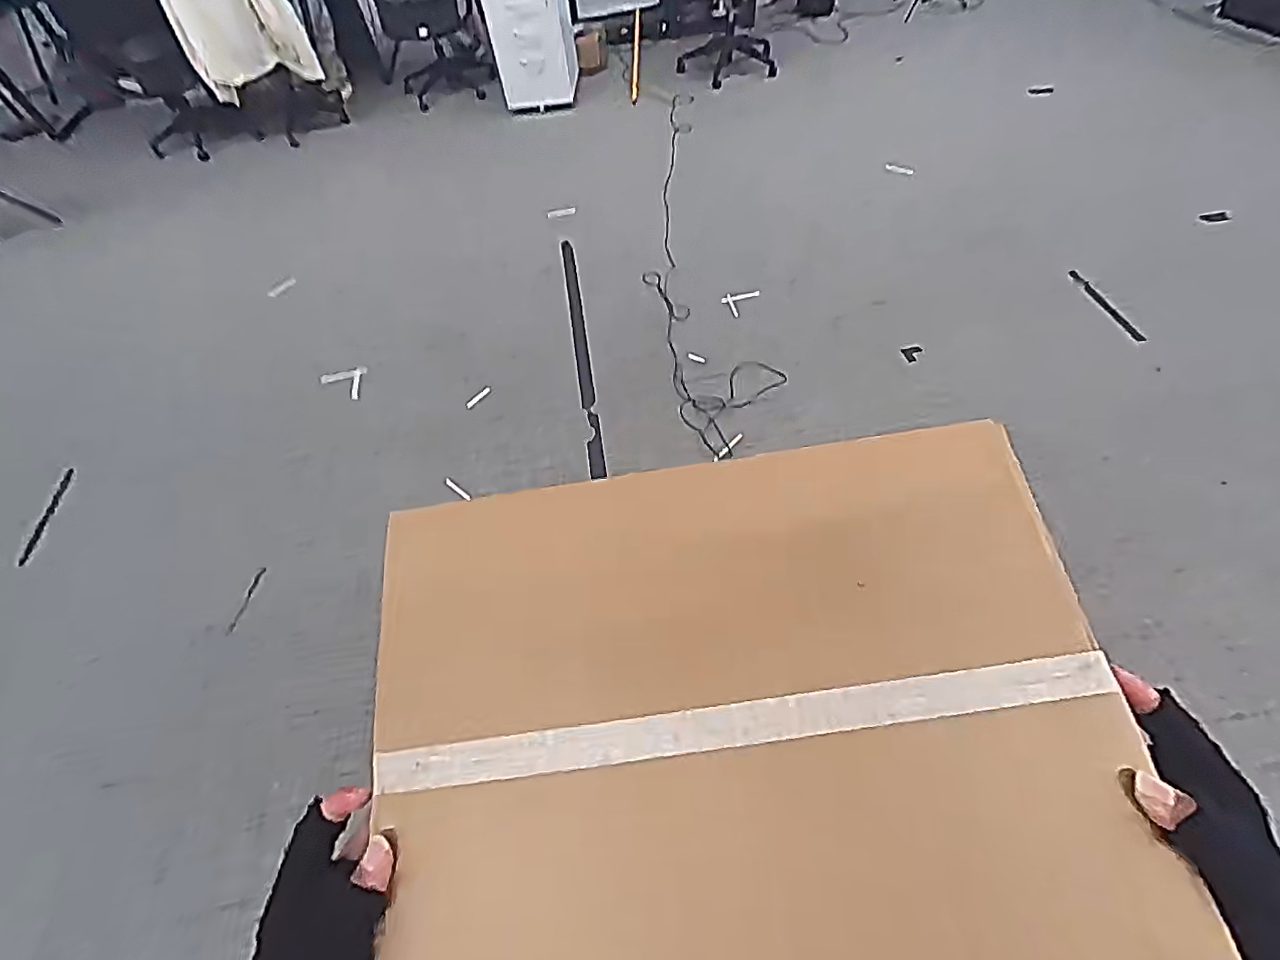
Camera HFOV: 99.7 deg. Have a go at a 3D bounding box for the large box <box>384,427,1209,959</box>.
[{"bbox_3d":[0.067,0.191,0.445,0.408,0.320,0.320,-9,66,2],"label":"large box"}]
